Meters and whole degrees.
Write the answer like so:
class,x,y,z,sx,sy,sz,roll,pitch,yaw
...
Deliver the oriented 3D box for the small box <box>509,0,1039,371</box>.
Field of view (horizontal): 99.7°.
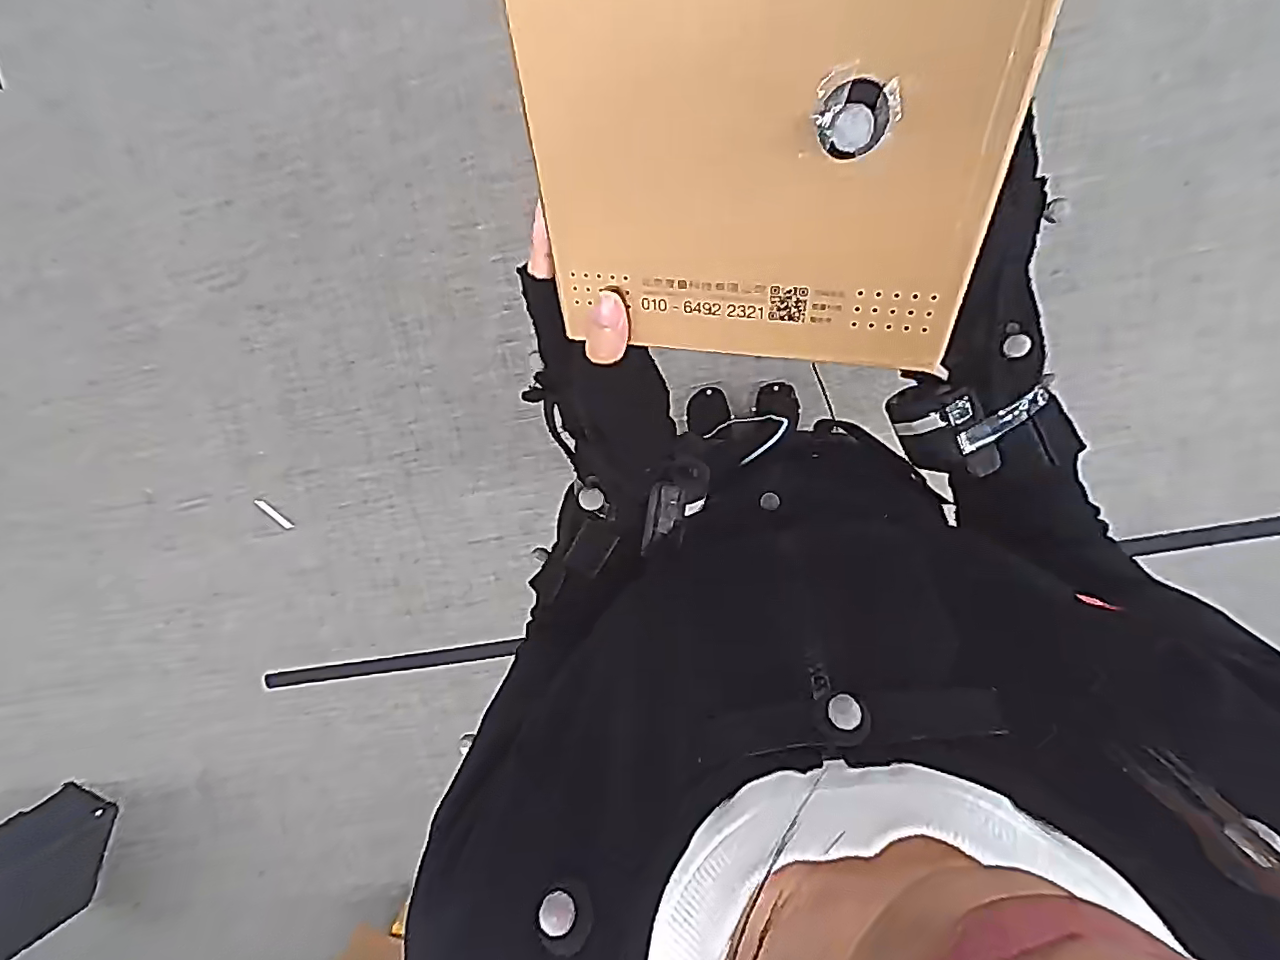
class,x,y,z,sx,sy,sz,roll,pitch,yaw
small box,0.065,-0.168,0.249,0.168,0.179,0.176,11,135,17
